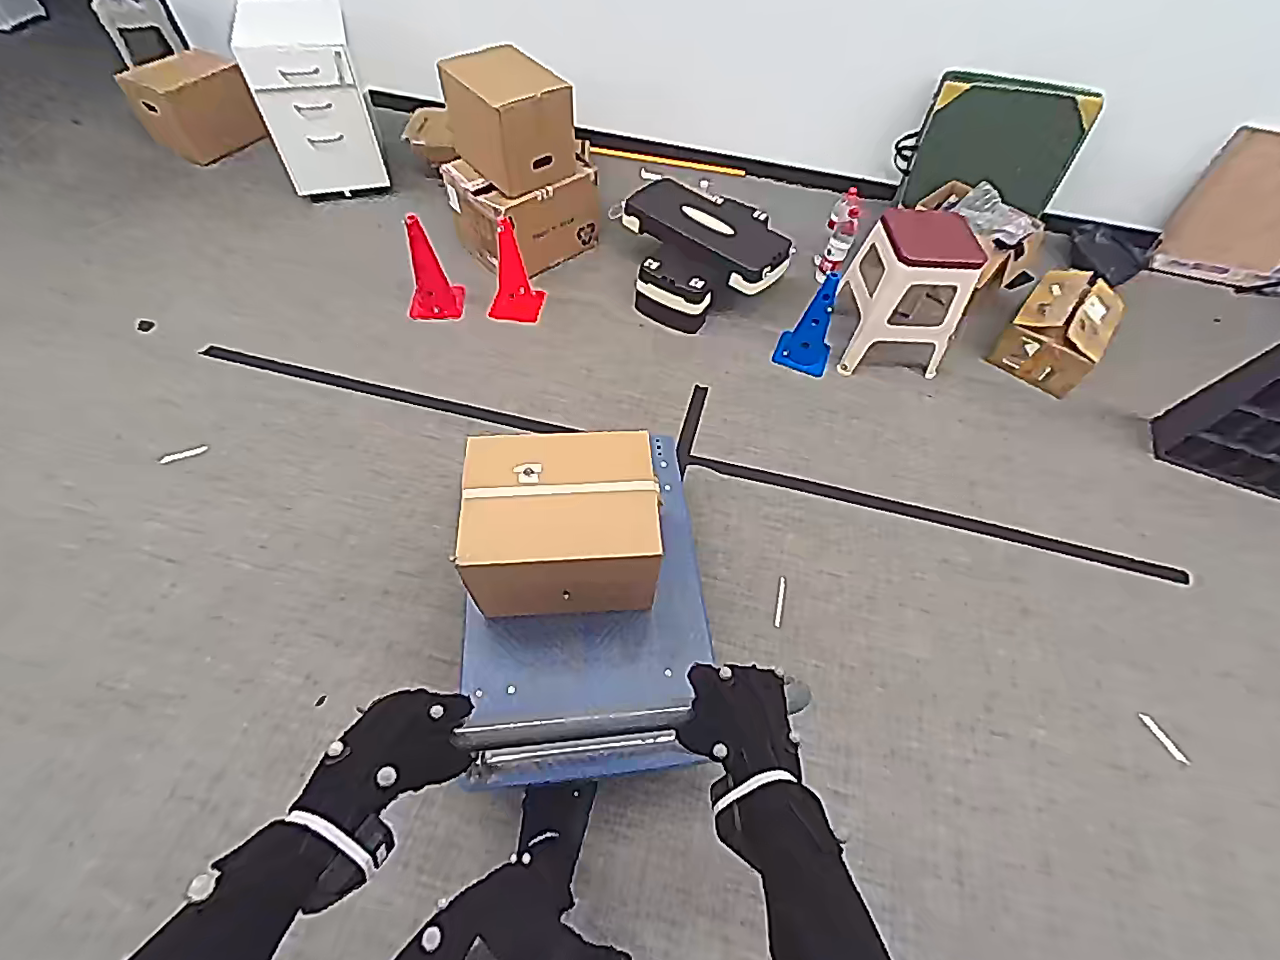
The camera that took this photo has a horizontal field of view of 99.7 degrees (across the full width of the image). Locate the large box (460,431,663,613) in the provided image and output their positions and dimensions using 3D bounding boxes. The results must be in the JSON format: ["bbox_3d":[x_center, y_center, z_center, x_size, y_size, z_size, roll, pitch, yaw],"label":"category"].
[{"bbox_3d":[-0.169,0.106,1.262,0.408,0.320,0.320,-2,57,-4],"label":"large box"}]
